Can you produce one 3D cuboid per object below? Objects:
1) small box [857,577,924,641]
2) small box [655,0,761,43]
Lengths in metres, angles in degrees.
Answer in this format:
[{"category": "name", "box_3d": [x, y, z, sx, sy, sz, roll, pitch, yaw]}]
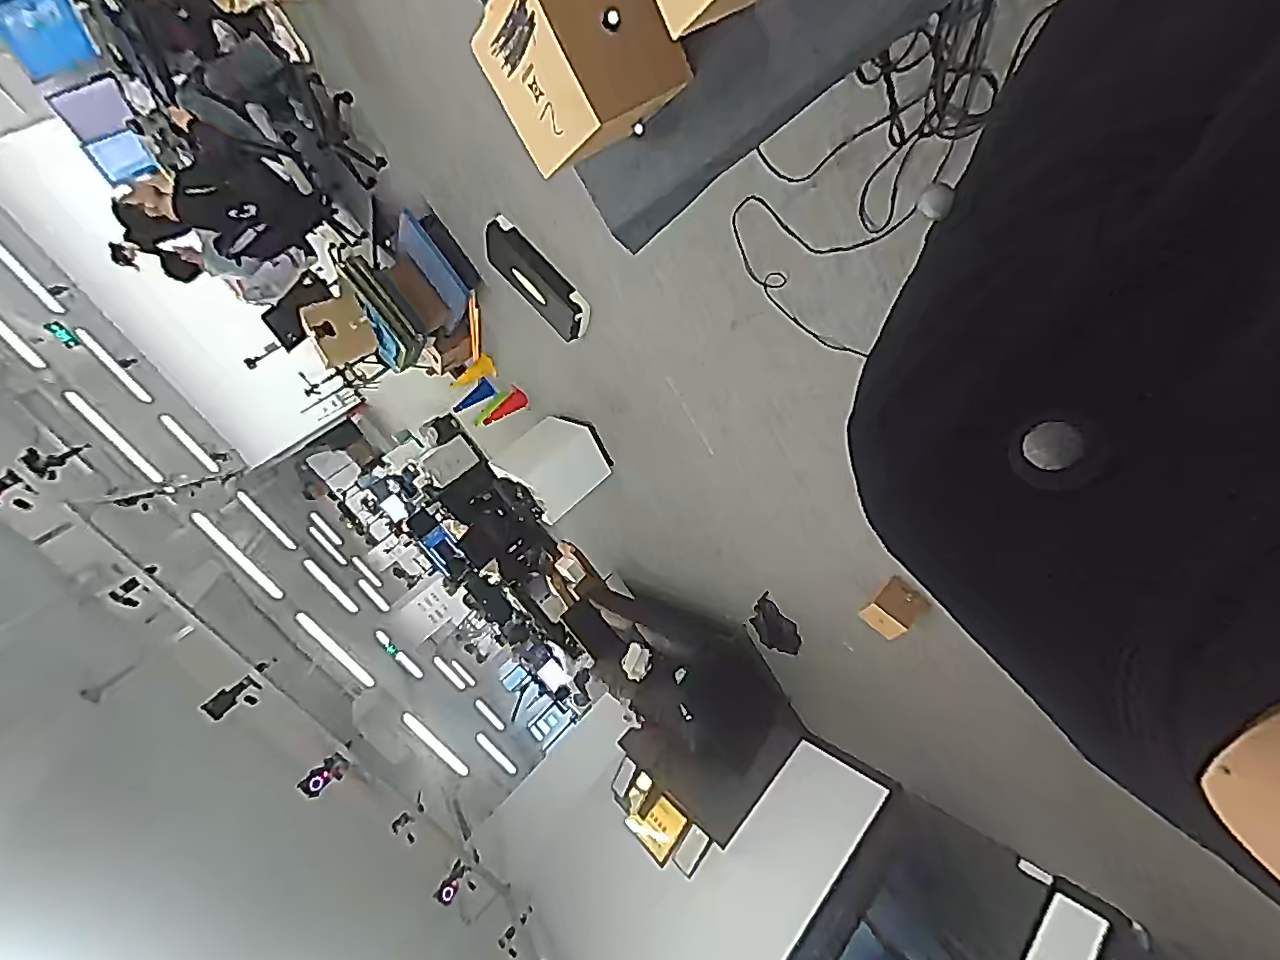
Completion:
[{"category": "small box", "box_3d": [1.061, 0.544, 2.282, 0.168, 0.176, 0.179, 39, 156, 19]}, {"category": "small box", "box_3d": [0.090, -0.504, 0.419, 0.168, 0.176, 0.179, 9, 135, 58]}]
